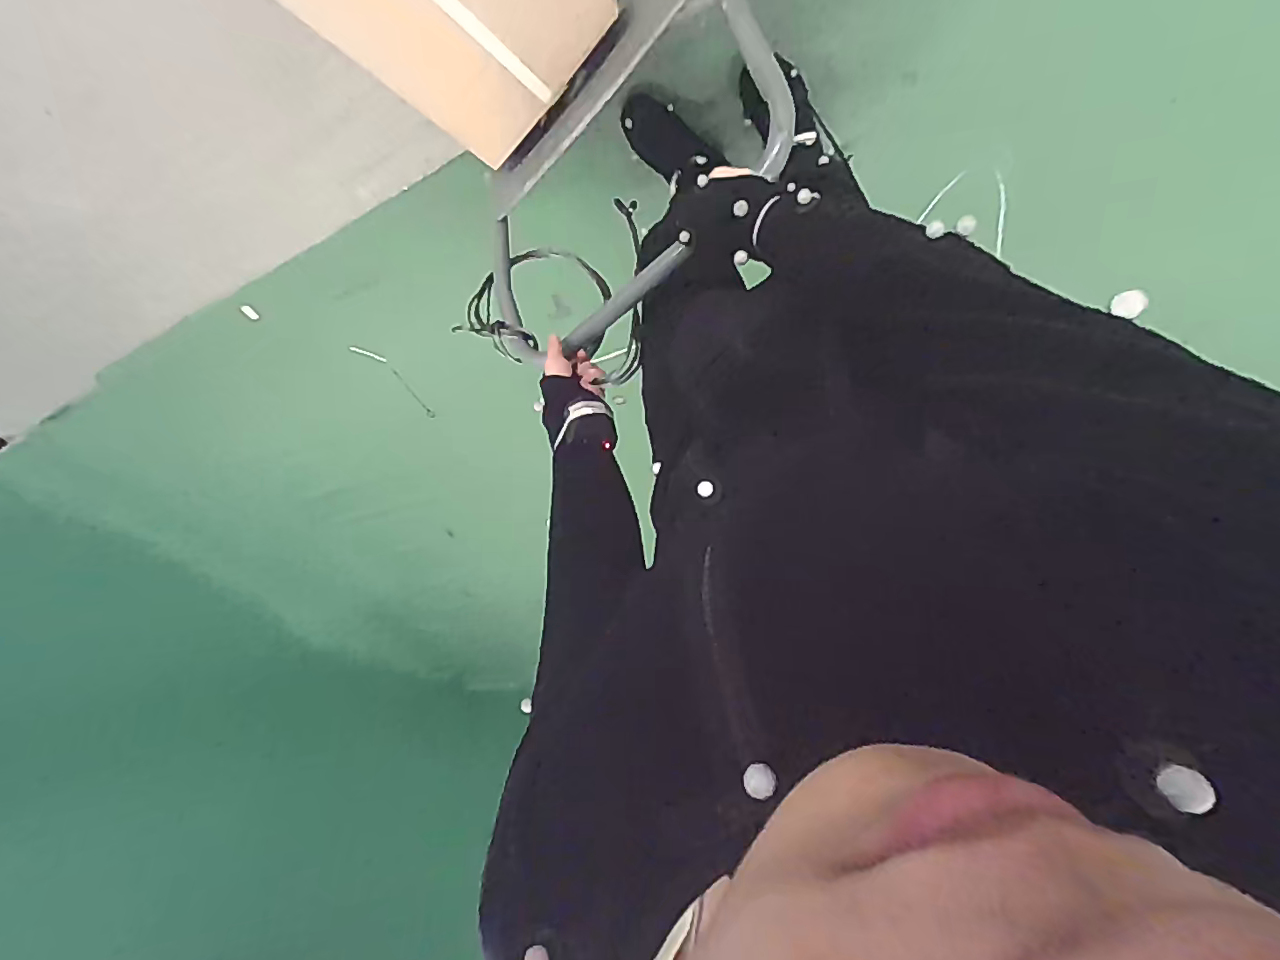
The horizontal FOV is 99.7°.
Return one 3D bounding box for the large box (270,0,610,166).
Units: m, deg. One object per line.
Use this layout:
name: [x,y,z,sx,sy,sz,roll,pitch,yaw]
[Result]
large box: [-0.294,-0.778,0.779,0.320,0.320,0.408,-29,144,34]
